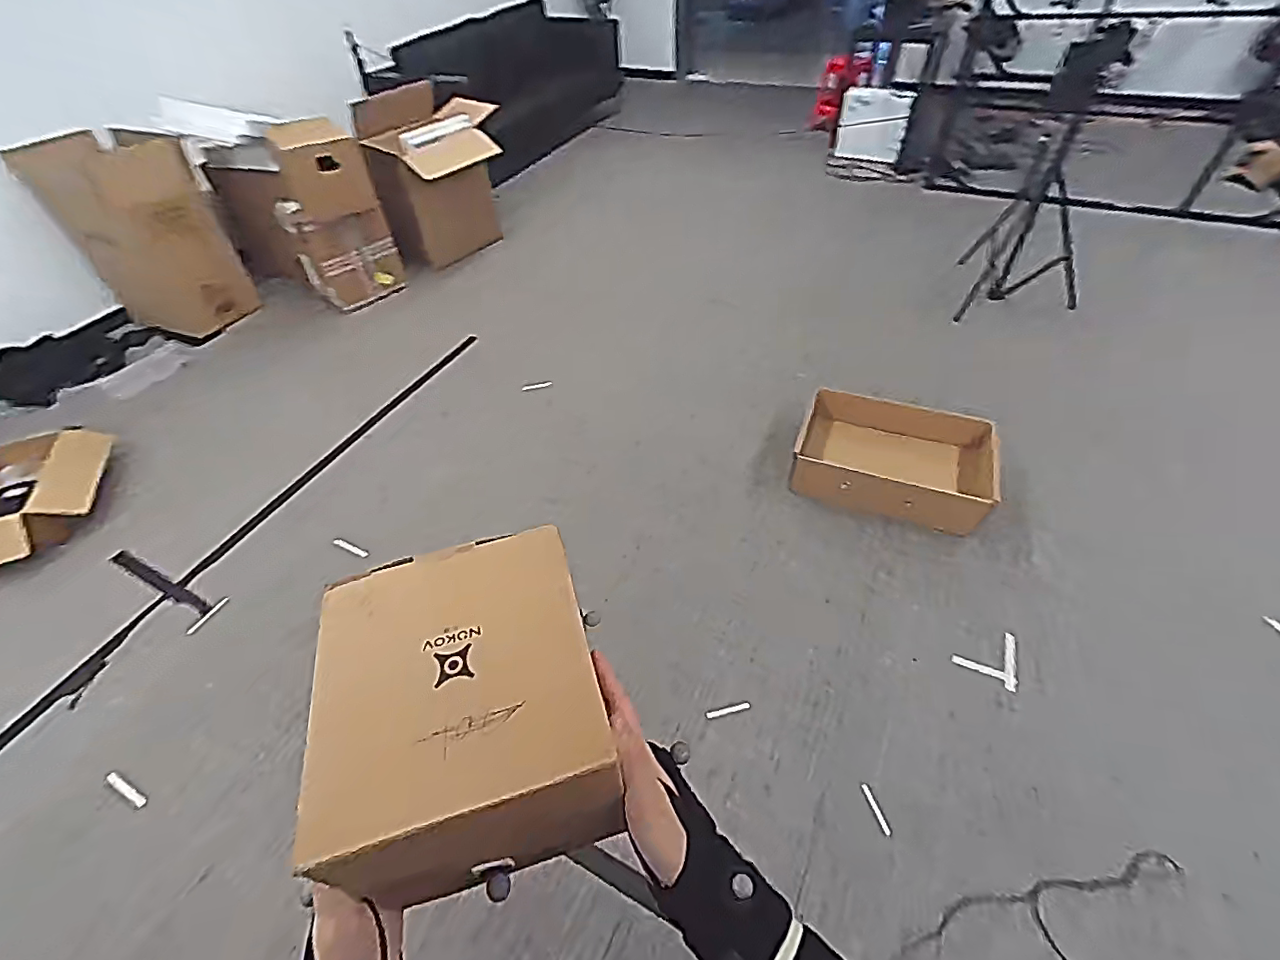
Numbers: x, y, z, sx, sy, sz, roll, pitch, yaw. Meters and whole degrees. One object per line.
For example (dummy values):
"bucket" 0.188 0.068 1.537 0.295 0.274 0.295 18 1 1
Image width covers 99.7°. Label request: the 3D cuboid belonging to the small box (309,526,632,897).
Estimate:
"small box" -0.106 0.165 0.393 0.168 0.176 0.179 -13 48 -10
